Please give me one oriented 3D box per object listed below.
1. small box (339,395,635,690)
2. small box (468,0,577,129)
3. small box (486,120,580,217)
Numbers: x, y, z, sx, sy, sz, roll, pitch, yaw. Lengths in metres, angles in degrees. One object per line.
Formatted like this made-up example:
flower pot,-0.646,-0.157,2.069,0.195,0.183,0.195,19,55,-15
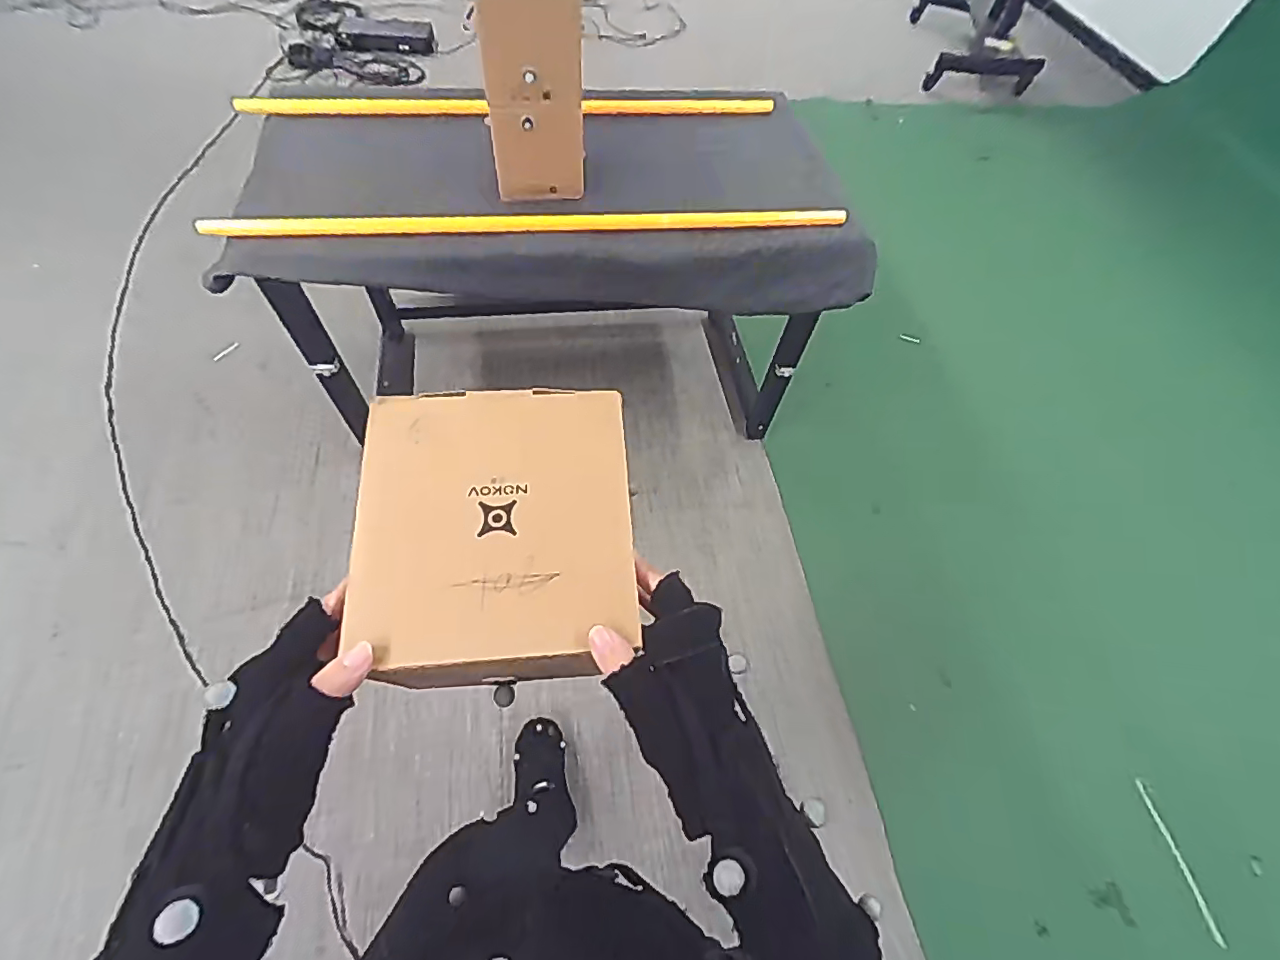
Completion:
small box,-0.098,0.054,0.410,0.168,0.176,0.179,-3,65,-7
small box,-0.201,-0.745,0.944,0.168,0.176,0.179,-6,59,-9
small box,-0.213,-0.653,1.081,0.168,0.176,0.179,-8,58,-9
